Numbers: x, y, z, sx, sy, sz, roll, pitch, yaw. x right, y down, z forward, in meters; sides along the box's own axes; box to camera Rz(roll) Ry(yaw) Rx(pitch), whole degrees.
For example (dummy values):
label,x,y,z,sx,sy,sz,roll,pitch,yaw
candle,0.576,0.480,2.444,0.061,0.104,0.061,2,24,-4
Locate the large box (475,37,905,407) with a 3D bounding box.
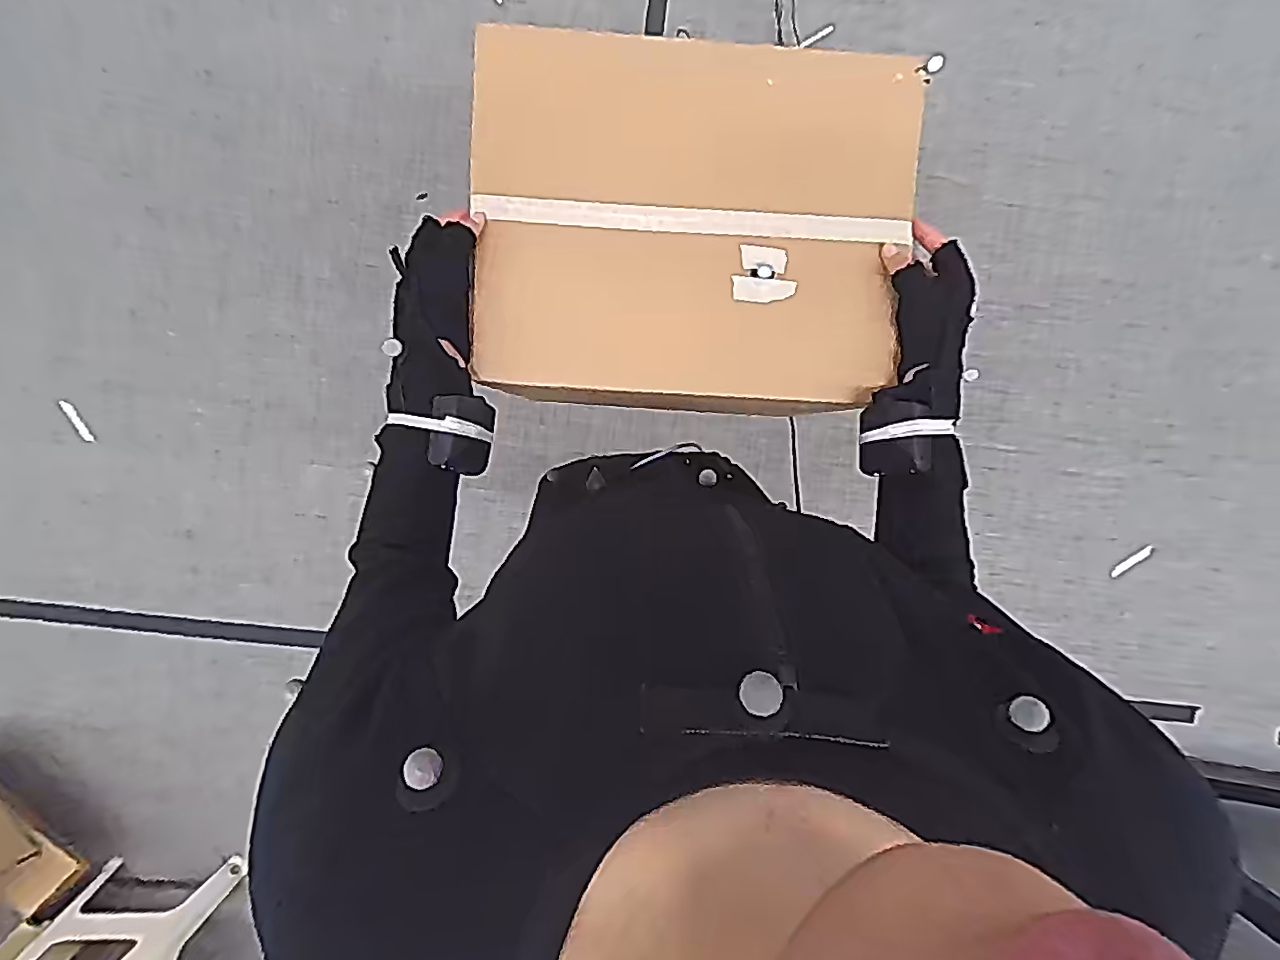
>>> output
label,x,y,z,sx,sy,sz,roll,pitch,yaw
large box,0.038,-0.258,0.660,0.408,0.320,0.320,3,96,-2
